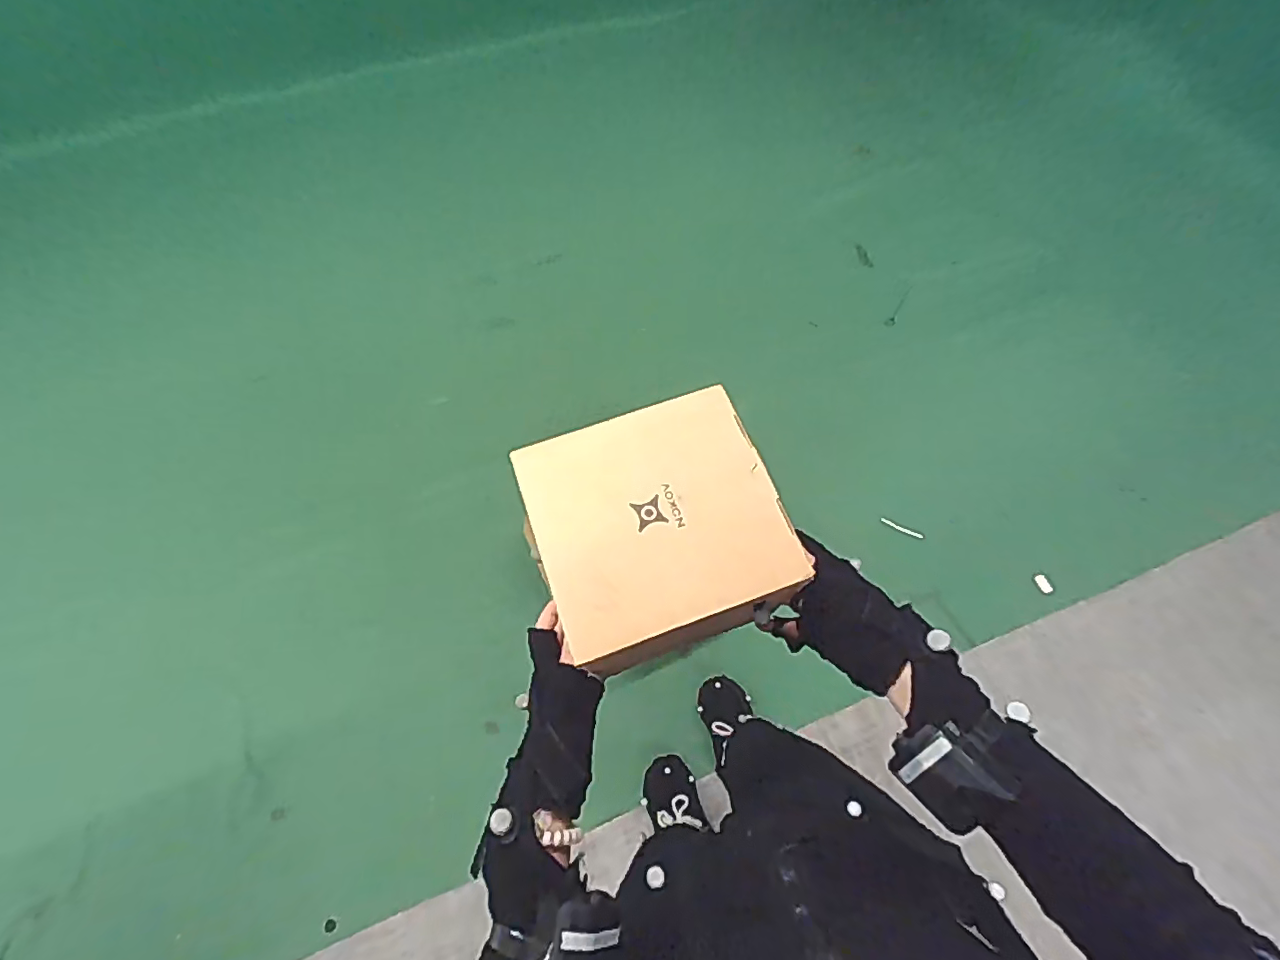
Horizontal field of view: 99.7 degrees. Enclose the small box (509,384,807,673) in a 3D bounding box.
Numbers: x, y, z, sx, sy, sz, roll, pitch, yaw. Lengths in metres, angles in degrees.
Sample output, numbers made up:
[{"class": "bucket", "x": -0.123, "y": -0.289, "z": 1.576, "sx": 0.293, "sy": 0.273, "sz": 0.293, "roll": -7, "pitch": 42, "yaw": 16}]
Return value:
[{"class": "small box", "x": 0.010, "y": 0.052, "z": 0.459, "sx": 0.179, "sy": 0.176, "sz": 0.168, "roll": -19, "pitch": 68, "yaw": -7}]
